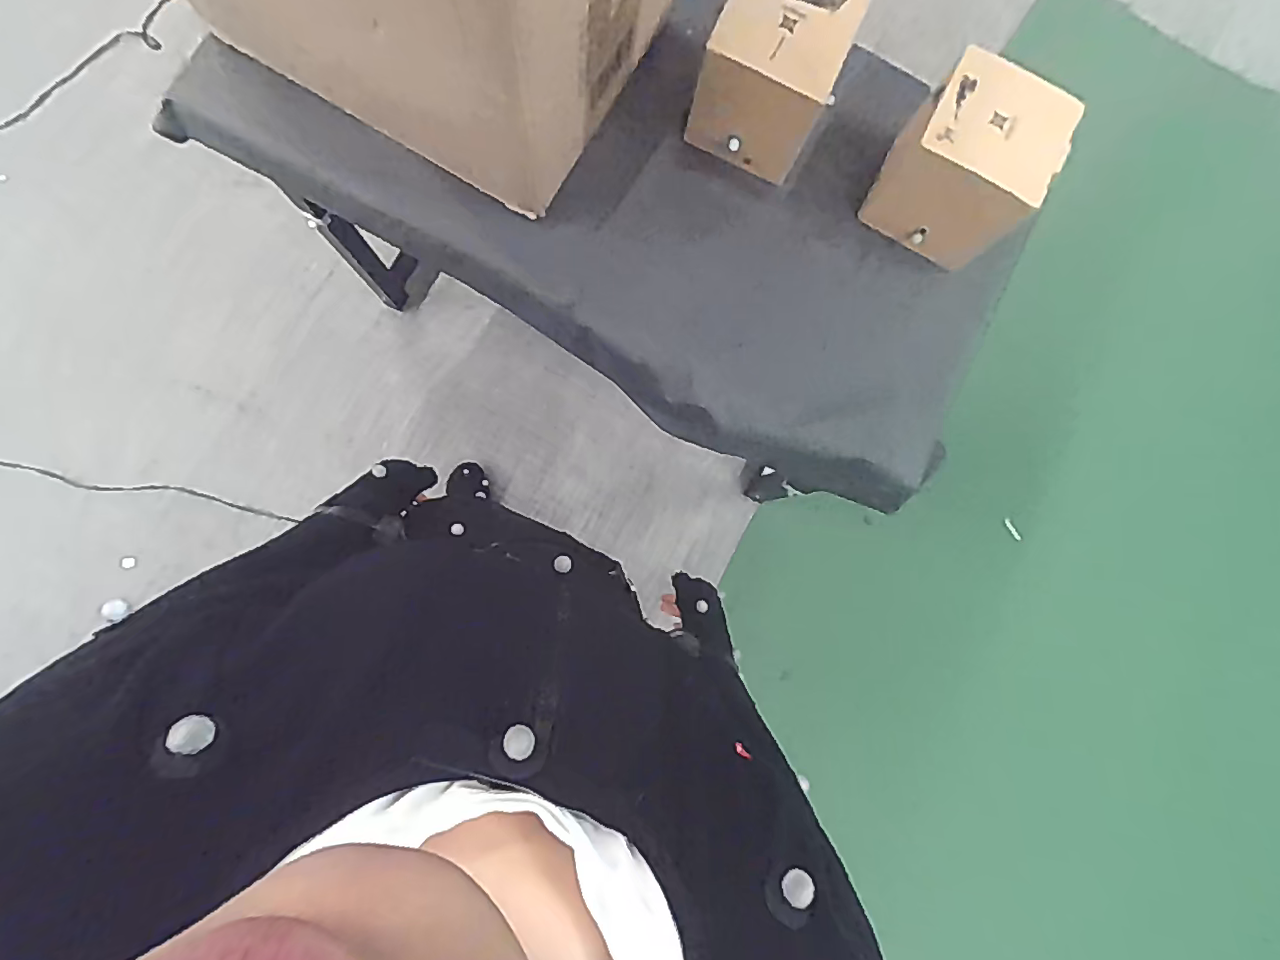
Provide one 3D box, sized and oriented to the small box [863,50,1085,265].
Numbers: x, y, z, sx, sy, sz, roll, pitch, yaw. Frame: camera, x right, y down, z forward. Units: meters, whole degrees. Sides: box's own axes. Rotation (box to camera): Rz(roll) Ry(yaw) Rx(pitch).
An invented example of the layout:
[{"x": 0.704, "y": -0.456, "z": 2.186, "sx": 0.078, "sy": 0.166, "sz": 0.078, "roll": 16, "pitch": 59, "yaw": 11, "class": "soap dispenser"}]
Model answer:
[{"x": 0.462, "y": -0.439, "z": 0.772, "sx": 0.179, "sy": 0.176, "sz": 0.168, "roll": 28, "pitch": 83, "yaw": -2, "class": "small box"}]
